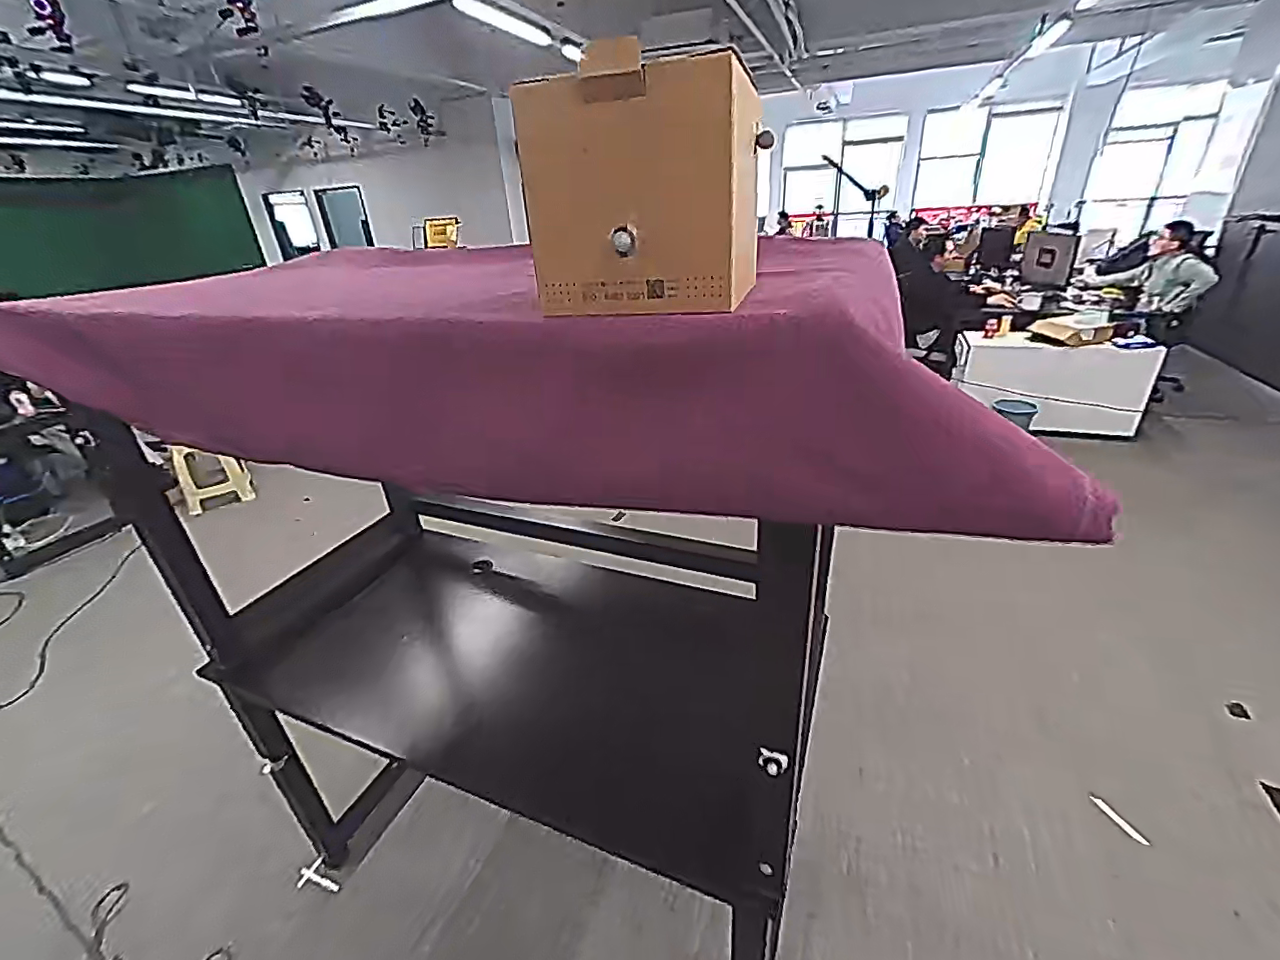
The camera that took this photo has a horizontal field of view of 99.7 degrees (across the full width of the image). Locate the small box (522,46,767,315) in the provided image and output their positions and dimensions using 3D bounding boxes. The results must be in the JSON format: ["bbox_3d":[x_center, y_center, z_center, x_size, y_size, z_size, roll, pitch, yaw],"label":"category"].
[{"bbox_3d":[0.018,-0.246,0.476,0.168,0.176,0.179,4,27,17],"label":"small box"}]
